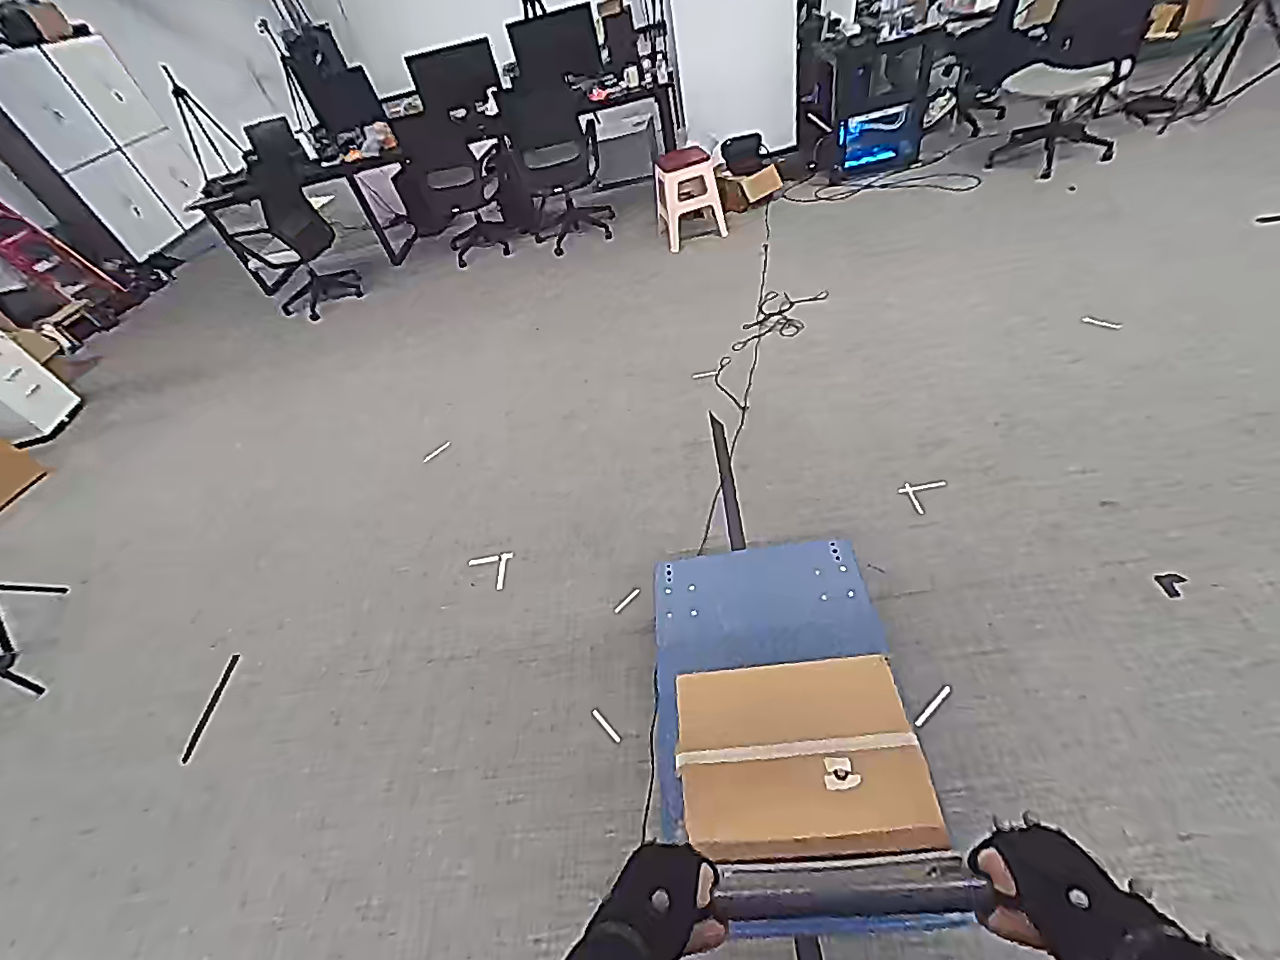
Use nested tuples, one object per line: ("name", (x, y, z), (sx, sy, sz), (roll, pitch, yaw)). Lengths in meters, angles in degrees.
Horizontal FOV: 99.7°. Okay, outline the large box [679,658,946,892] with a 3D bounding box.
("large box", (0.303, 0.584, 1.062), (0.408, 0.320, 0.320), (-8, 46, 7))
